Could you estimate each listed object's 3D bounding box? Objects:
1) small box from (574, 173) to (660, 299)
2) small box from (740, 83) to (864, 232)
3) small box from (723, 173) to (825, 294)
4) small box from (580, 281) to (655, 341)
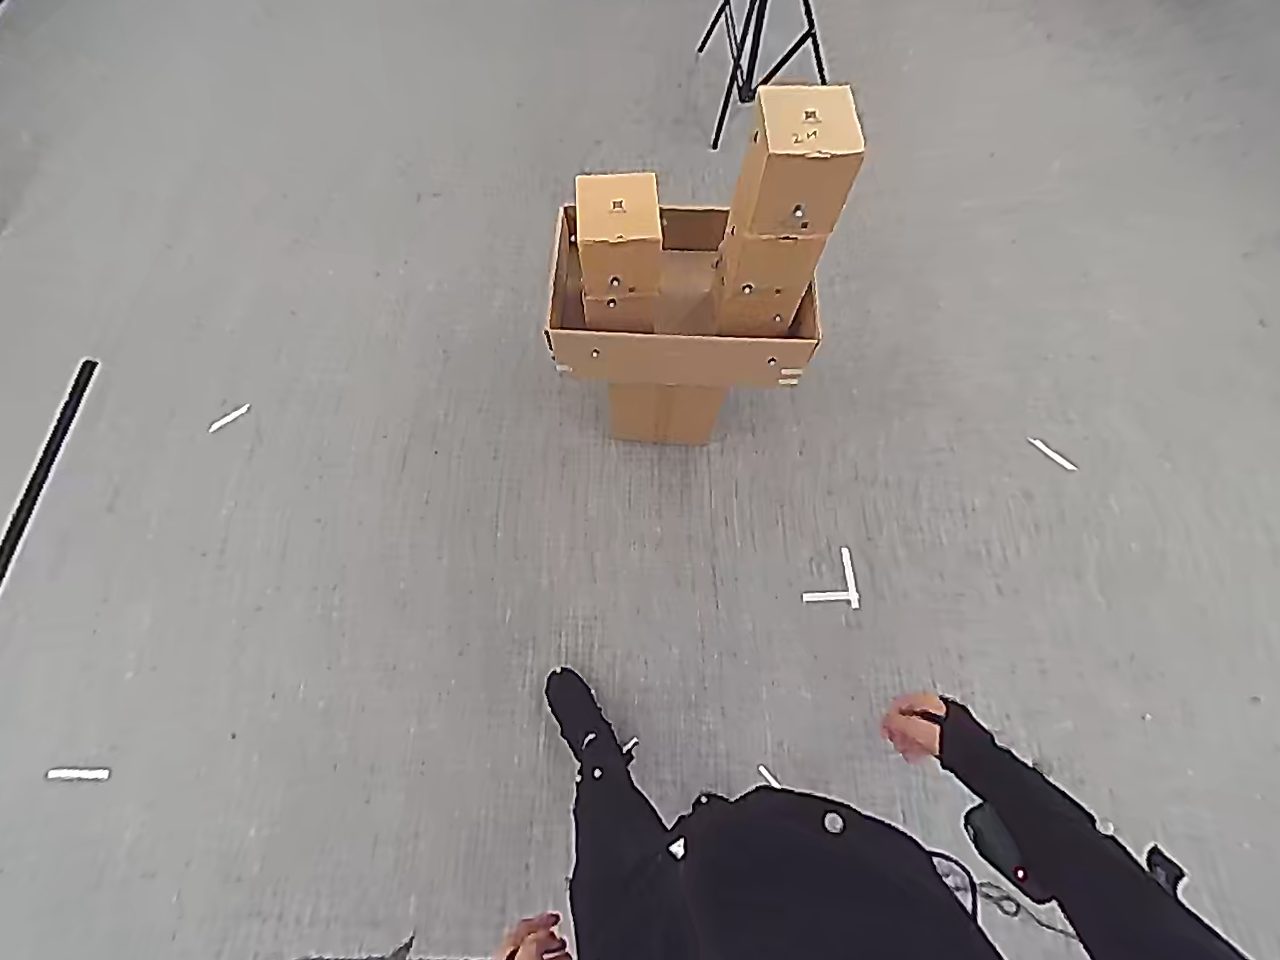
[{"bbox_3d":[-0.049,-0.508,1.135,0.168,0.176,0.179,-4,70,-2],"label":"small box"},{"bbox_3d":[0.284,-0.585,0.990,0.168,0.176,0.179,-1,69,-1],"label":"small box"},{"bbox_3d":[0.273,-0.513,1.138,0.168,0.176,0.179,-1,68,-2],"label":"small box"},{"bbox_3d":[-0.052,-0.454,1.290,0.168,0.176,0.179,-2,68,0],"label":"small box"}]
